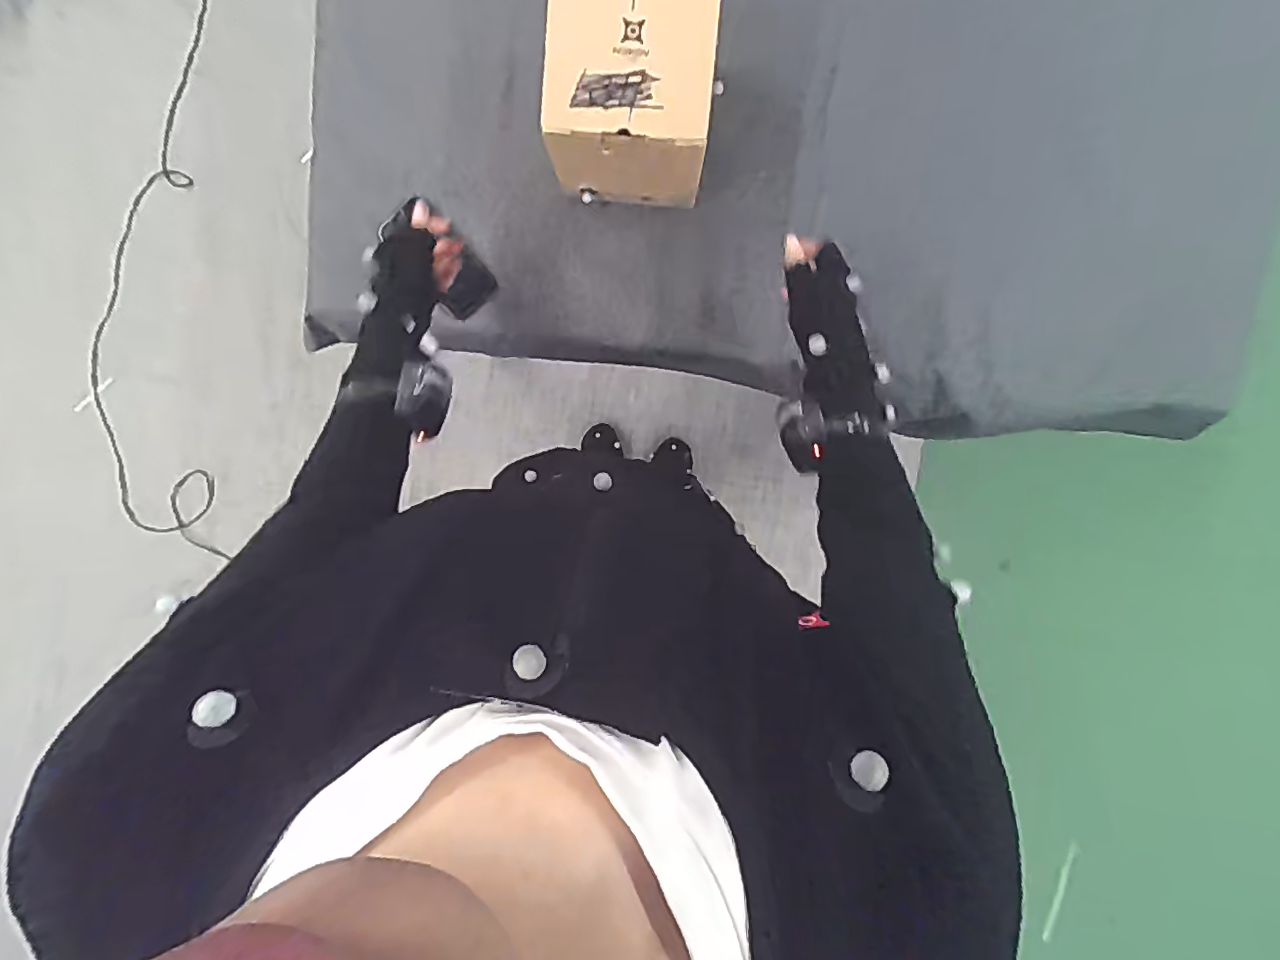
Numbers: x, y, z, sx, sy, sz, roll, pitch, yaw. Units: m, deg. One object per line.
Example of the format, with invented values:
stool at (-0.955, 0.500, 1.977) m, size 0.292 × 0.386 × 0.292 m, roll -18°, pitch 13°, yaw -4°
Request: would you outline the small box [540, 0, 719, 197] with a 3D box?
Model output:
small box at (-0.007, -0.436, 0.595) m, size 0.168 × 0.176 × 0.179 m, roll 5°, pitch 96°, yaw 0°
